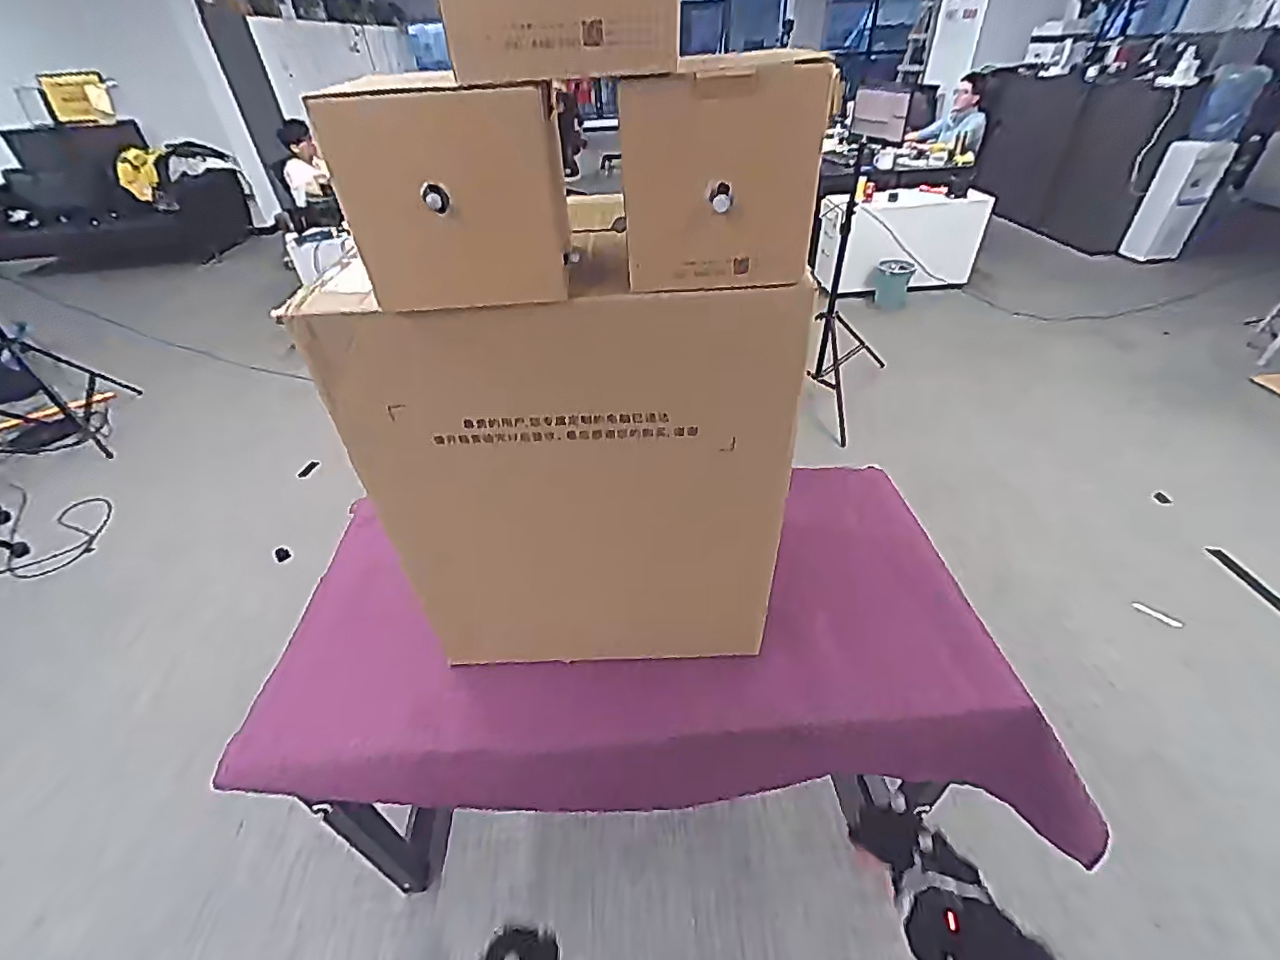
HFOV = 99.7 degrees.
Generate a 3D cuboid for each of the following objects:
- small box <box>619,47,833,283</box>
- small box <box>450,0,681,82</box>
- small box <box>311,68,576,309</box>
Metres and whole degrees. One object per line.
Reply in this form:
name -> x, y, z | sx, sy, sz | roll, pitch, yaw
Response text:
small box -> 0.071, -0.300, 0.523 | 0.168, 0.176, 0.179 | -2, 41, 2
small box -> -0.055, -0.412, 0.414 | 0.168, 0.176, 0.179 | -2, 40, 0
small box -> -0.157, -0.276, 0.512 | 0.179, 0.176, 0.168 | -5, 40, 0
